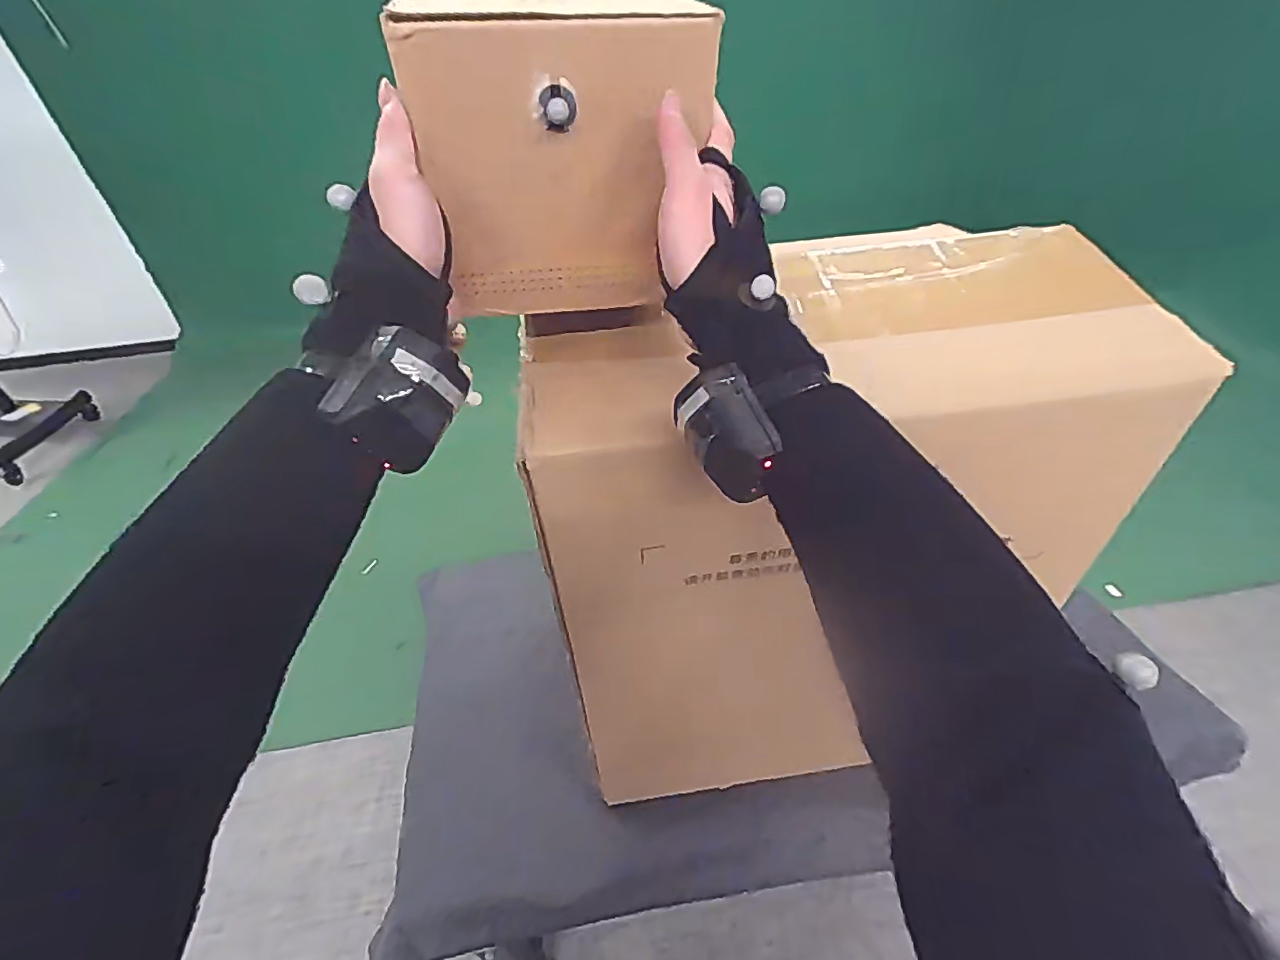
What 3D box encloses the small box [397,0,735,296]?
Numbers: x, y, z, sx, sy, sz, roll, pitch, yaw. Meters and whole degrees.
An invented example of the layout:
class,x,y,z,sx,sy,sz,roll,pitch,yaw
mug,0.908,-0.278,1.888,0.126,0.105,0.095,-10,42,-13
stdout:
class,x,y,z,sx,sy,sz,roll,pitch,yaw
small box,-0.052,-0.241,0.379,0.179,0.176,0.168,-5,46,-11
